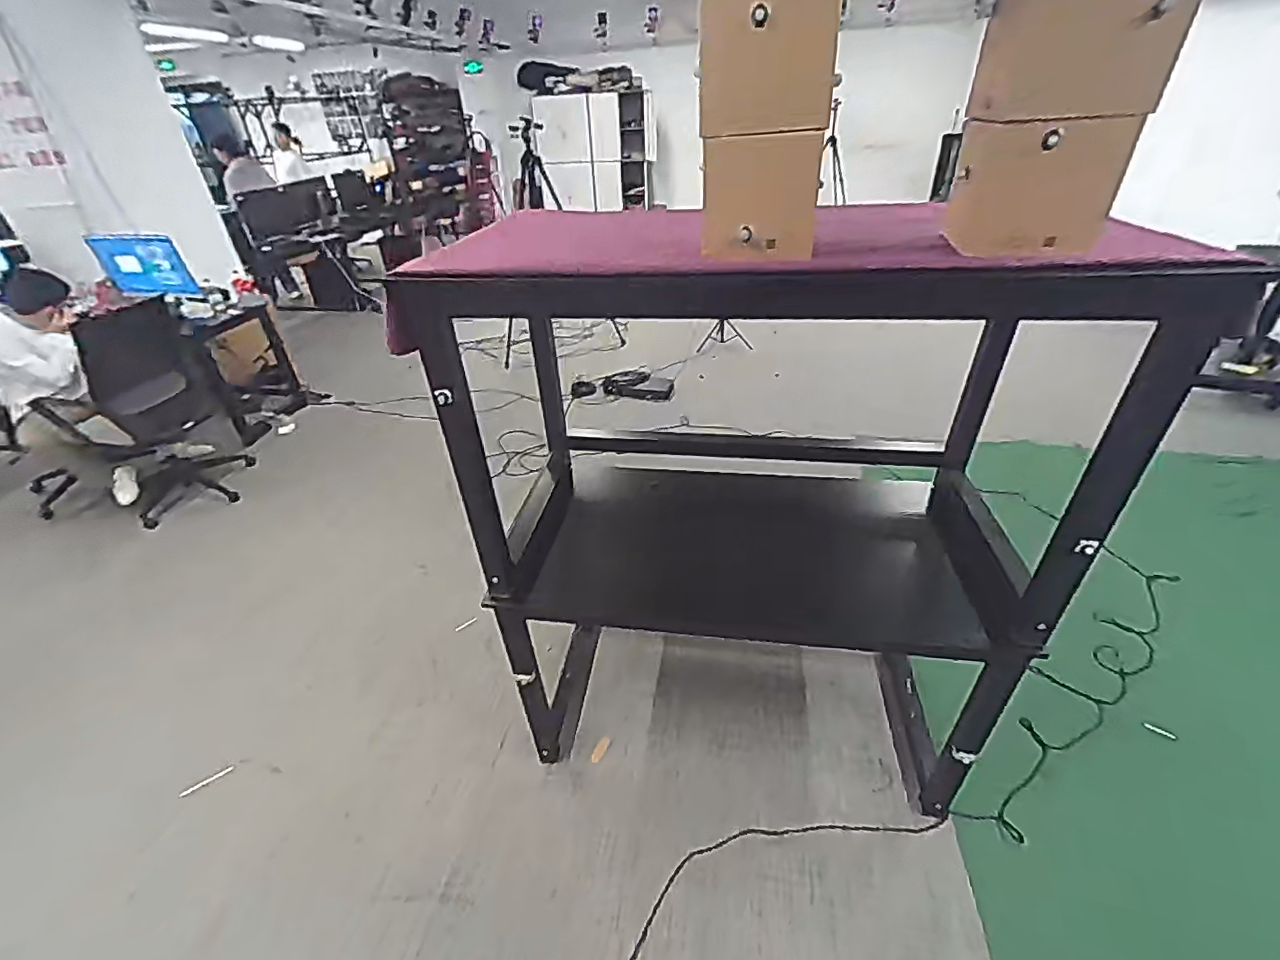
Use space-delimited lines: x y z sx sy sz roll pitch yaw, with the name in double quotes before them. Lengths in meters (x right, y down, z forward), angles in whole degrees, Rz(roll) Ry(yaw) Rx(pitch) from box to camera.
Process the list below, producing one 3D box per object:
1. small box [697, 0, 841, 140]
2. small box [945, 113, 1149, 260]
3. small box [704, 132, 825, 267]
"small box" 0.177 -0.575 0.752 0.179 0.176 0.168 3 34 12
"small box" 0.566 -0.427 0.787 0.168 0.176 0.179 4 35 13
"small box" 0.190 -0.440 0.846 0.168 0.176 0.179 4 34 12
